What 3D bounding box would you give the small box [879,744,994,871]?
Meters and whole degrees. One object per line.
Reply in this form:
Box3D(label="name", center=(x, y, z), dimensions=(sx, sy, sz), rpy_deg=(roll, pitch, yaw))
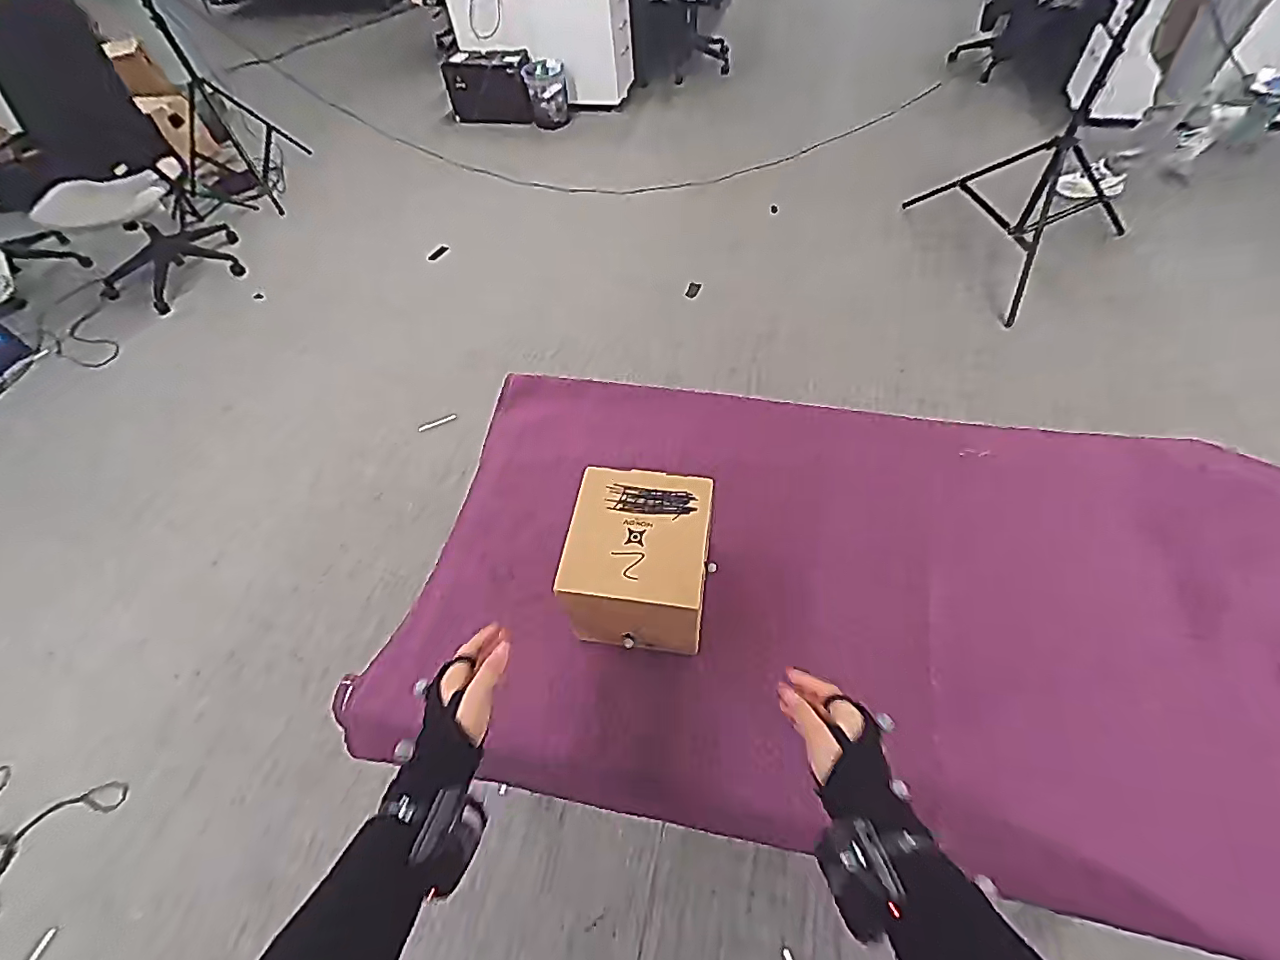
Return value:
Box3D(label="small box", center=(0.618, 0.692, 1.140), dimensions=(0.168, 0.176, 0.179), rpy_deg=(16, 57, 16))
